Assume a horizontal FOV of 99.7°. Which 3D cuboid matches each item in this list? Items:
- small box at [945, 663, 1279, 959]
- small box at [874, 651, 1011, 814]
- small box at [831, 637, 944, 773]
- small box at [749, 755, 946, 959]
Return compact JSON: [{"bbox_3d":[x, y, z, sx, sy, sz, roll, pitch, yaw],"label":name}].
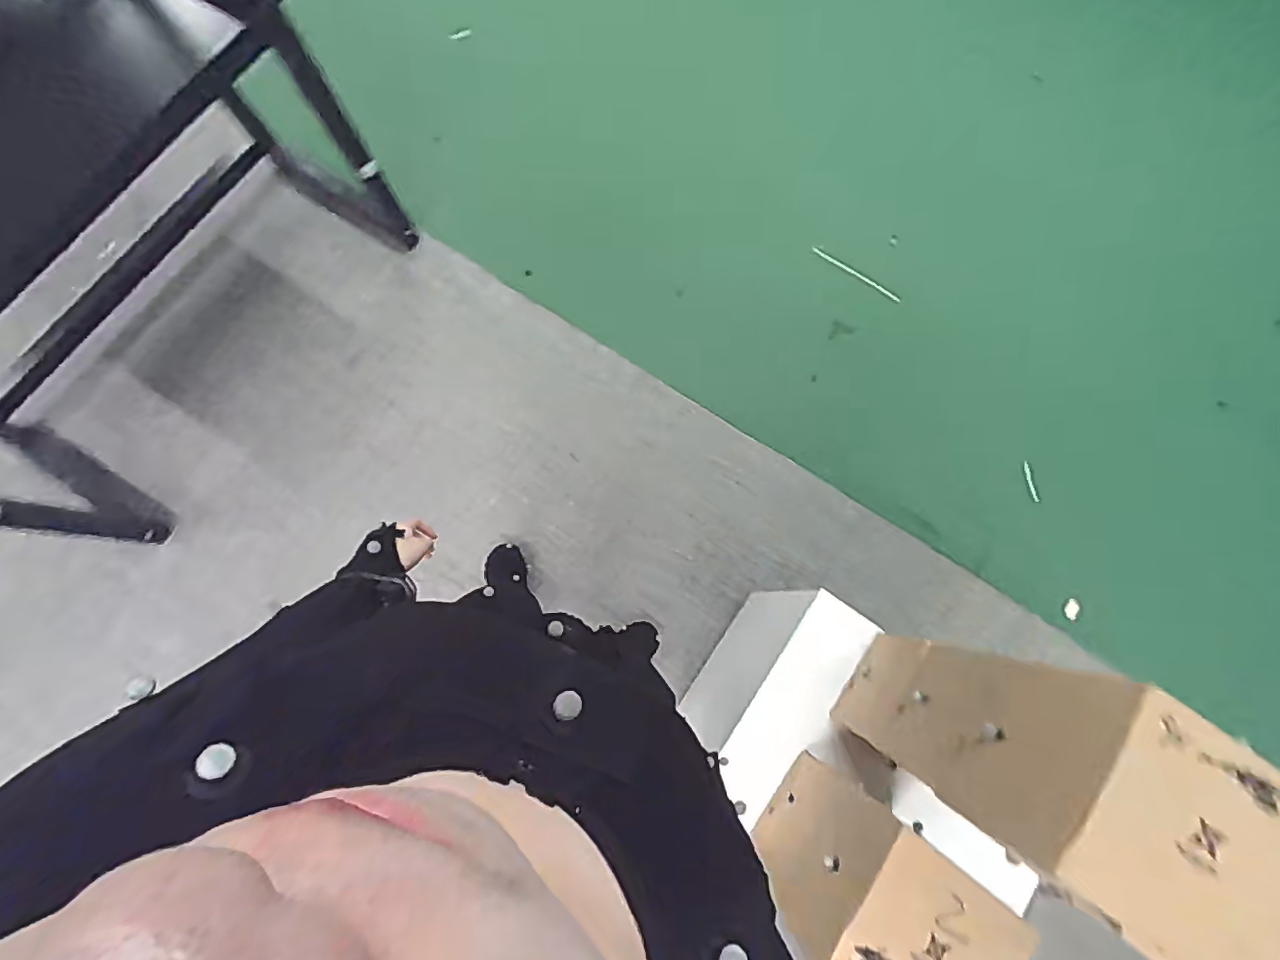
[{"bbox_3d":[0.422,0.297,0.496,0.168,0.176,0.179,37,81,6],"label":"small box"},{"bbox_3d":[0.429,0.329,0.658,0.179,0.176,0.168,37,81,6],"label":"small box"},{"bbox_3d":[0.427,0.355,0.820,0.179,0.176,0.168,35,81,7],"label":"small box"},{"bbox_3d":[0.285,0.534,0.781,0.179,0.176,0.168,37,79,7],"label":"small box"}]
